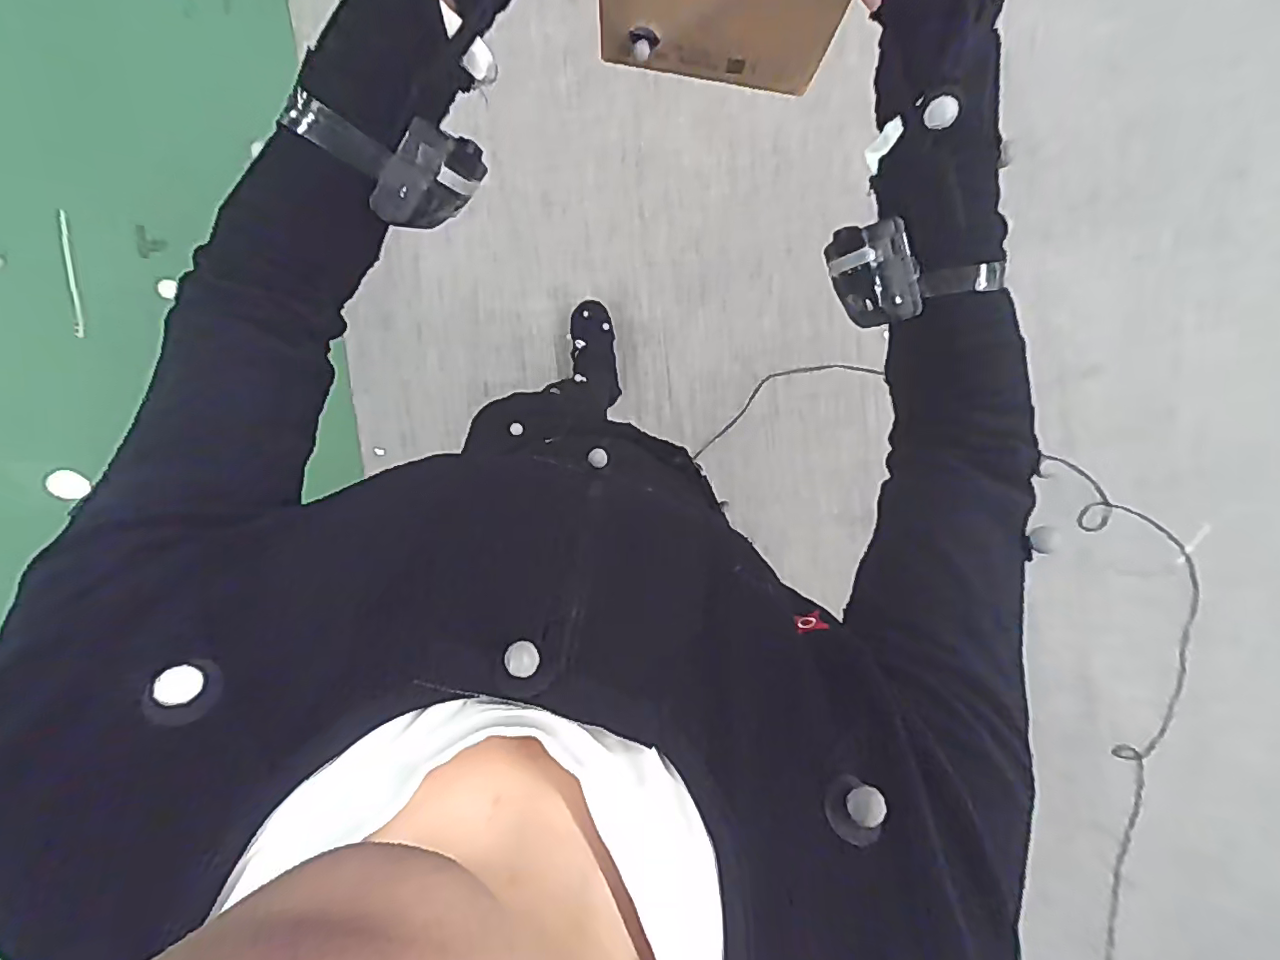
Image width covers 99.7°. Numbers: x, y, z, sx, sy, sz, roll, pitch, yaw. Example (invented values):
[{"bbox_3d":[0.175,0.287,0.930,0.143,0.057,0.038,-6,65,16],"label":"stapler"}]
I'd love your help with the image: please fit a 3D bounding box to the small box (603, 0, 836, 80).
[{"bbox_3d":[0.064,-0.409,0.350,0.168,0.176,0.179,8,89,-2],"label":"small box"}]
